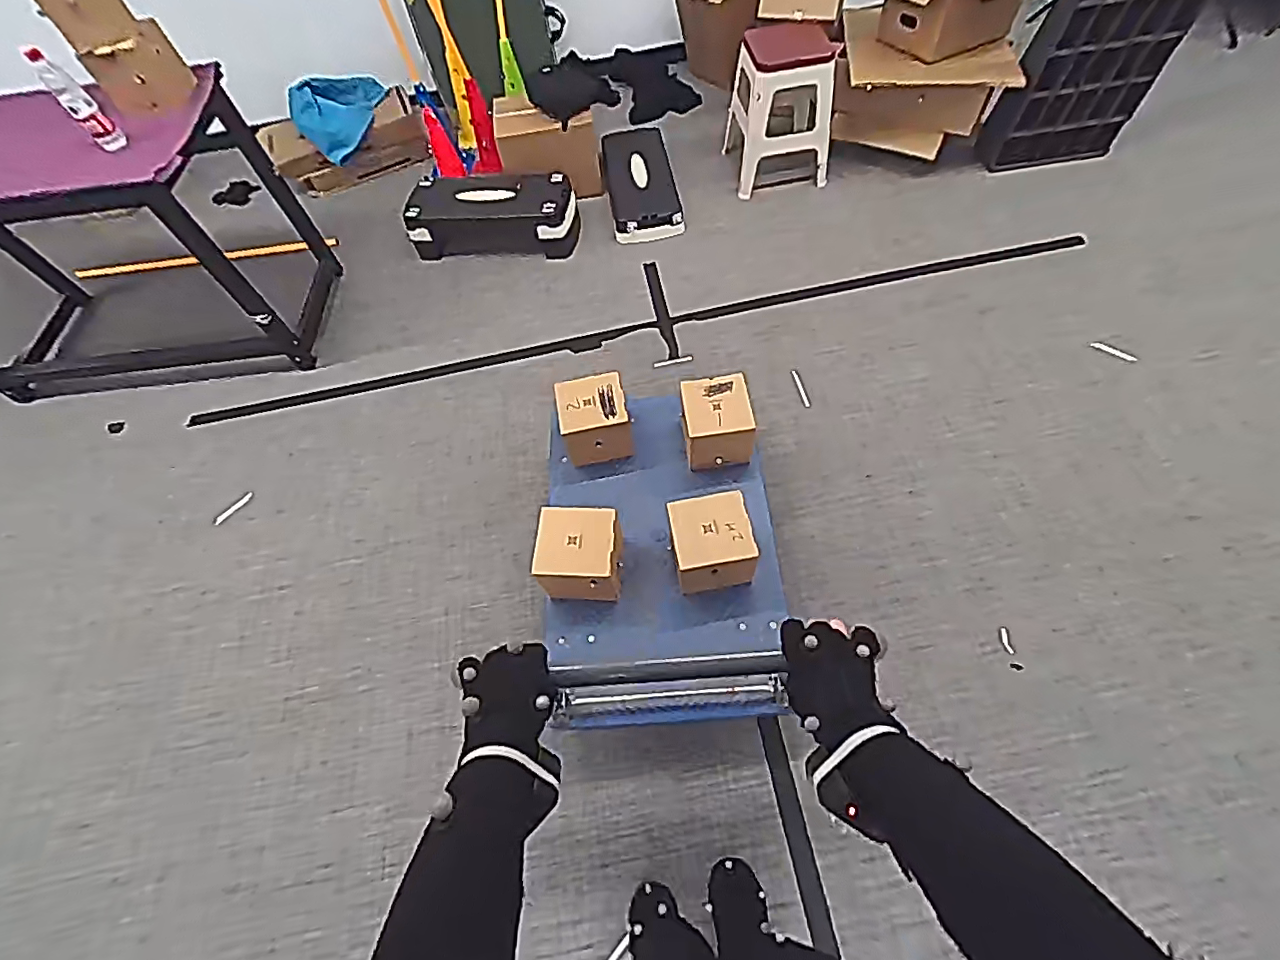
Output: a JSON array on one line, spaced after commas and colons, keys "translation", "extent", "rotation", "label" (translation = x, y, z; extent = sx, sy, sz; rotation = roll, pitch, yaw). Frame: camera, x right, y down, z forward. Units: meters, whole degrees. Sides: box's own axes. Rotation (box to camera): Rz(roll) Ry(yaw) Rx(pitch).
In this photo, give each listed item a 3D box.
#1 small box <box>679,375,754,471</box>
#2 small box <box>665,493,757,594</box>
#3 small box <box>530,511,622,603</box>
[{"translation": [0.193, -0.145, 1.412], "extent": [0.168, 0.176, 0.179], "rotation": [-8, 62, 1], "label": "small box"}, {"translation": [0.160, 0.152, 1.250], "extent": [0.179, 0.176, 0.168], "rotation": [-10, 61, 0], "label": "small box"}, {"translation": [-0.142, 0.183, 1.263], "extent": [0.179, 0.176, 0.168], "rotation": [1, 60, 4], "label": "small box"}]
